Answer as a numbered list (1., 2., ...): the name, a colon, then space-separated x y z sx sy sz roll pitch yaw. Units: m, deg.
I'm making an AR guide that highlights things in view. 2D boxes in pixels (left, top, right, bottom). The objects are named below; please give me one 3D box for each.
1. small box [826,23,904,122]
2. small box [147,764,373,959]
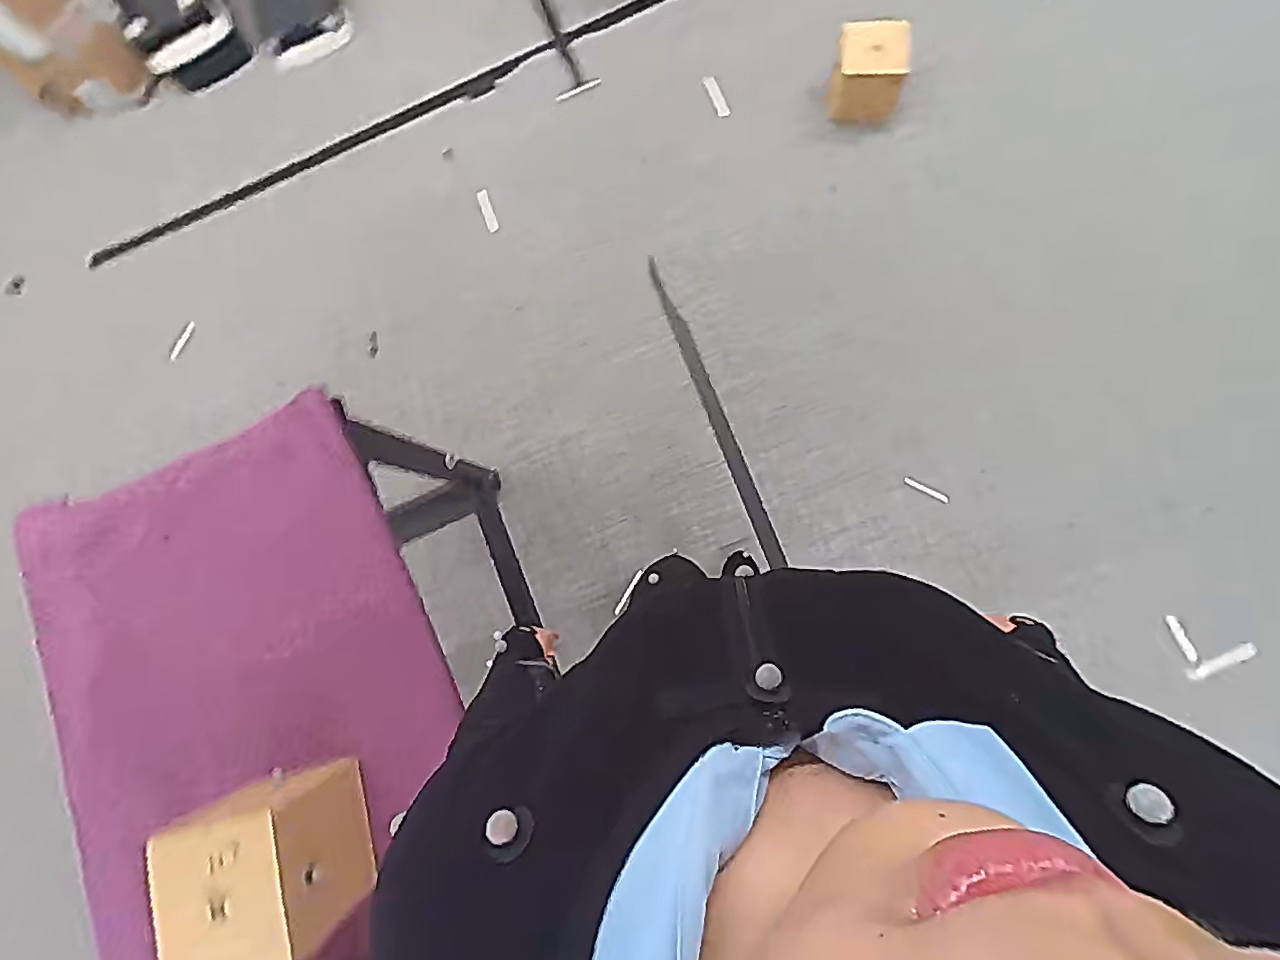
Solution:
1. small box: 0.644 -1.172 1.567 0.179 0.176 0.168 2 82 6
2. small box: -0.475 0.504 0.701 0.168 0.176 0.179 -16 81 3
